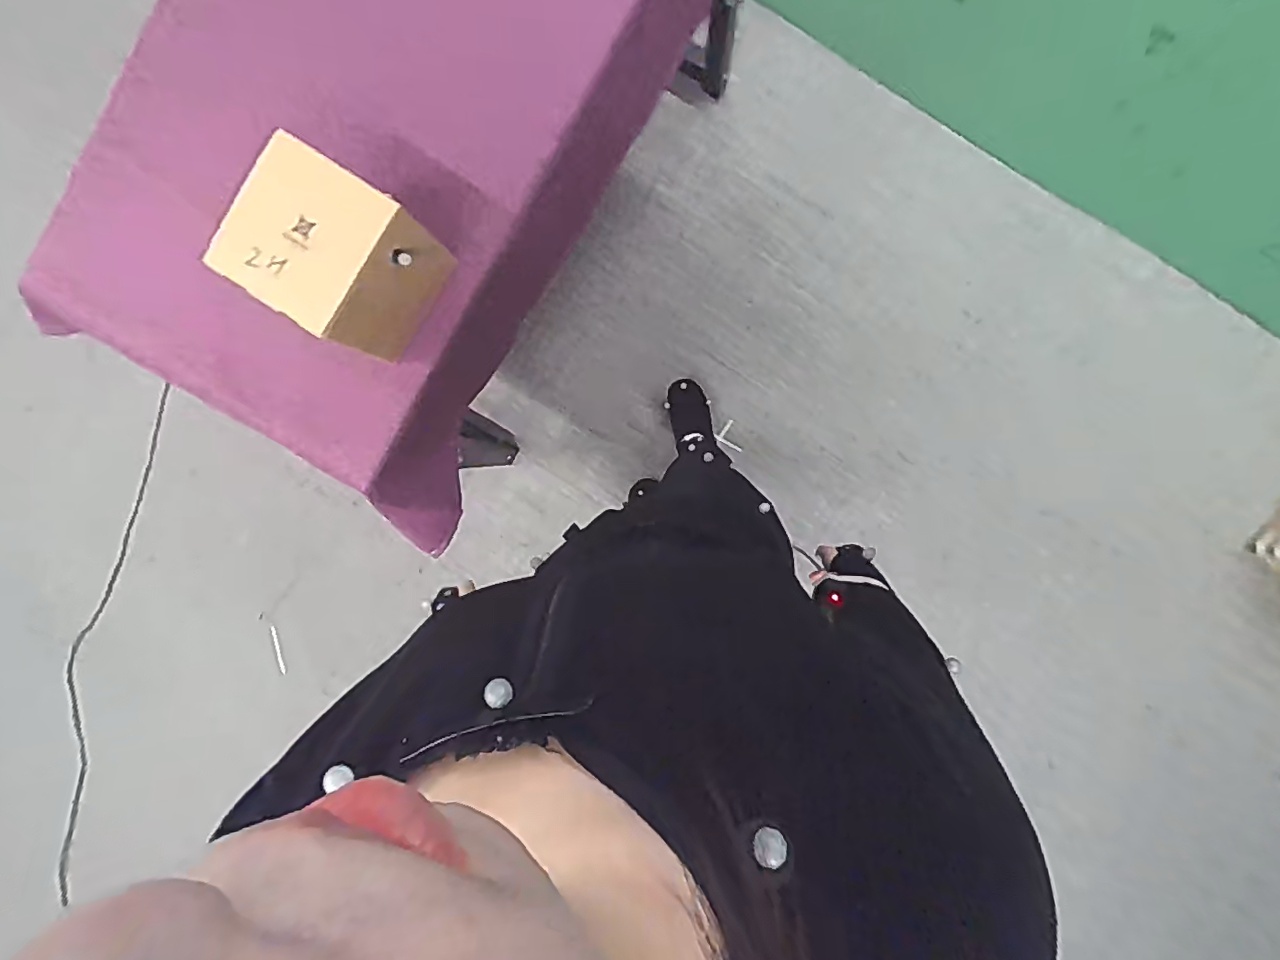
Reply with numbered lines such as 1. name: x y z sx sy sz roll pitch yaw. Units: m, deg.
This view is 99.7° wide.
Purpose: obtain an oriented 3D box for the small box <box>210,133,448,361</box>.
1. small box: -0.372 -0.278 0.687 0.168 0.176 0.179 33 94 3
